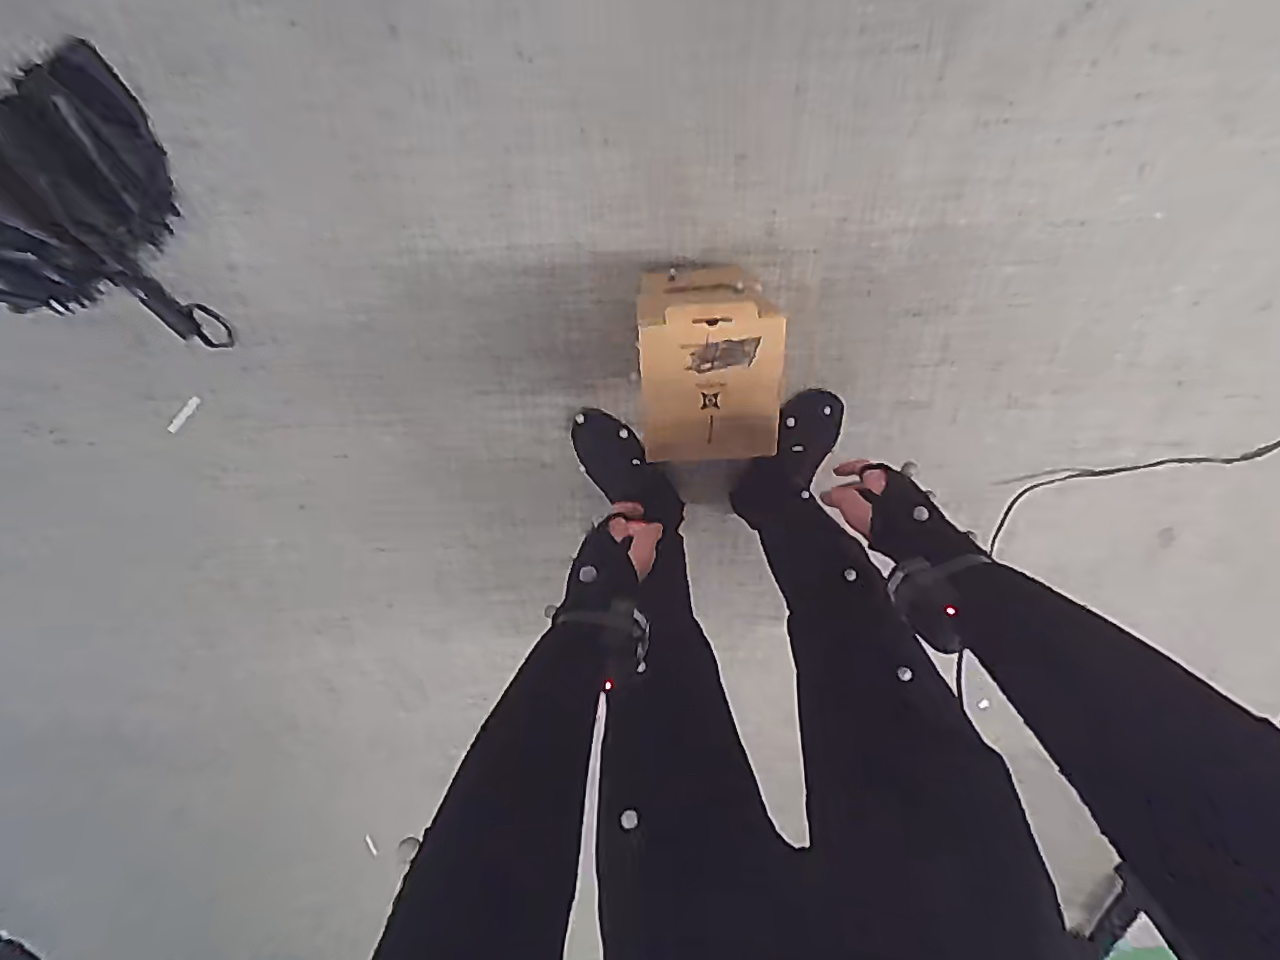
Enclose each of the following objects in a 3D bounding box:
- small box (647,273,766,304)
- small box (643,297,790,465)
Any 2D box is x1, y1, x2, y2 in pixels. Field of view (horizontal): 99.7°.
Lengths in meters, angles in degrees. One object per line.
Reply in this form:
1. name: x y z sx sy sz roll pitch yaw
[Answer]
1. small box: 0.098 -0.222 0.848 0.168 0.176 0.179 -4 120 3
2. small box: 0.089 -0.137 0.707 0.168 0.176 0.179 -3 119 3
